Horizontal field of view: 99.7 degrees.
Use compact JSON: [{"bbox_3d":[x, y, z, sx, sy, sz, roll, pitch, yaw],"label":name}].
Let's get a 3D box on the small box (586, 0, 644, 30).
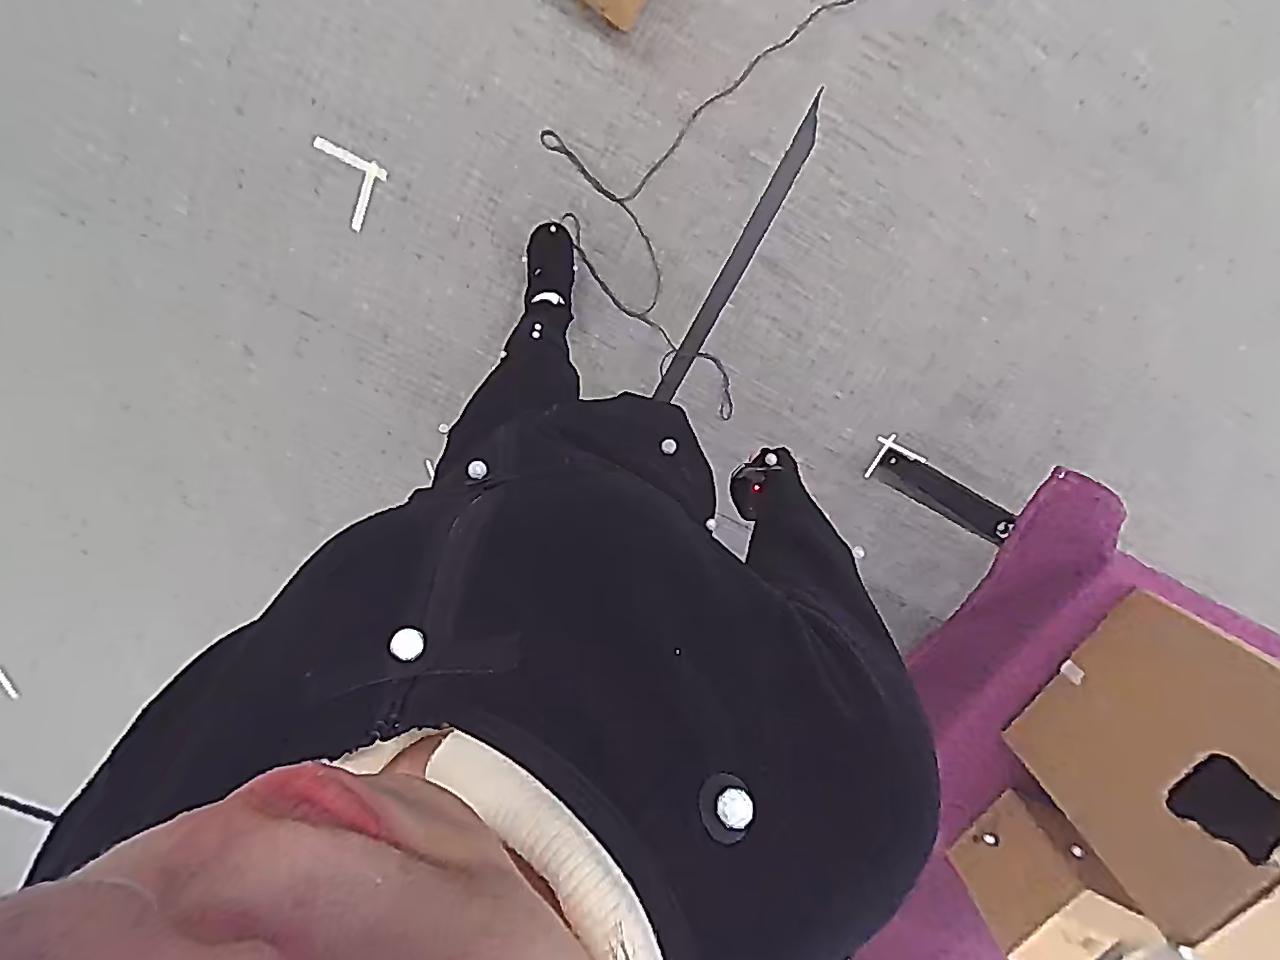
[{"bbox_3d":[-0.051,-1.062,1.077,0.168,0.176,0.179,32,105,-9],"label":"small box"}]
